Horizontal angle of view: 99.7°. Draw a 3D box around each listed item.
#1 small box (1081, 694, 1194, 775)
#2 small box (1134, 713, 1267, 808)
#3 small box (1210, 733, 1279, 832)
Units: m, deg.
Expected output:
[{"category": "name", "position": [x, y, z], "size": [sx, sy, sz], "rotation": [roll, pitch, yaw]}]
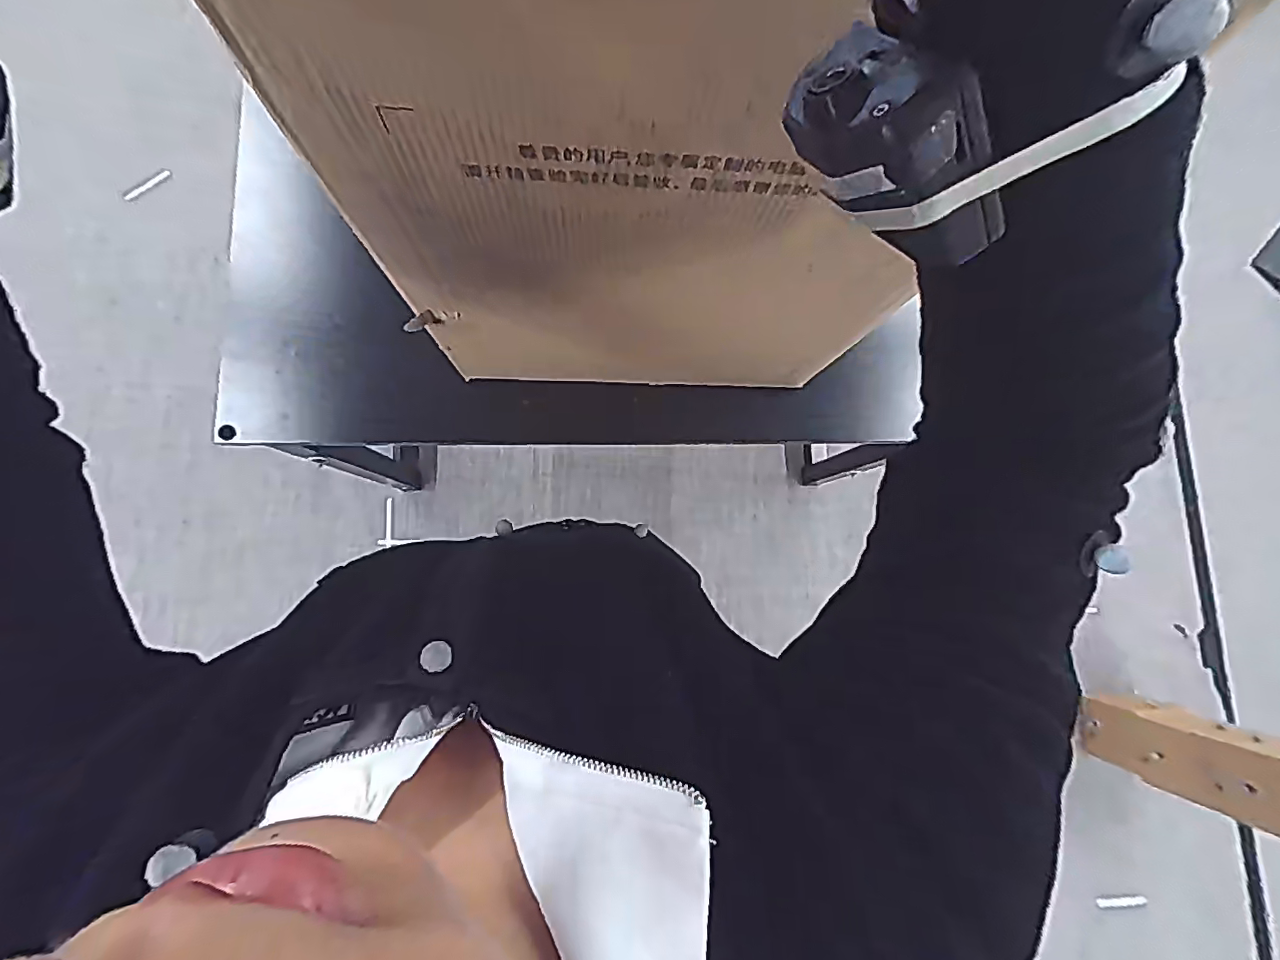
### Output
[{"category": "small box", "position": [1.380, 0.698, 1.499], "size": [0.179, 0.176, 0.168], "rotation": [0, 82, -4]}, {"category": "small box", "position": [1.387, 0.683, 1.335], "size": [0.179, 0.176, 0.168], "rotation": [1, 81, -5]}, {"category": "small box", "position": [1.400, 0.661, 1.173], "size": [0.179, 0.176, 0.168], "rotation": [1, 82, -5]}]
